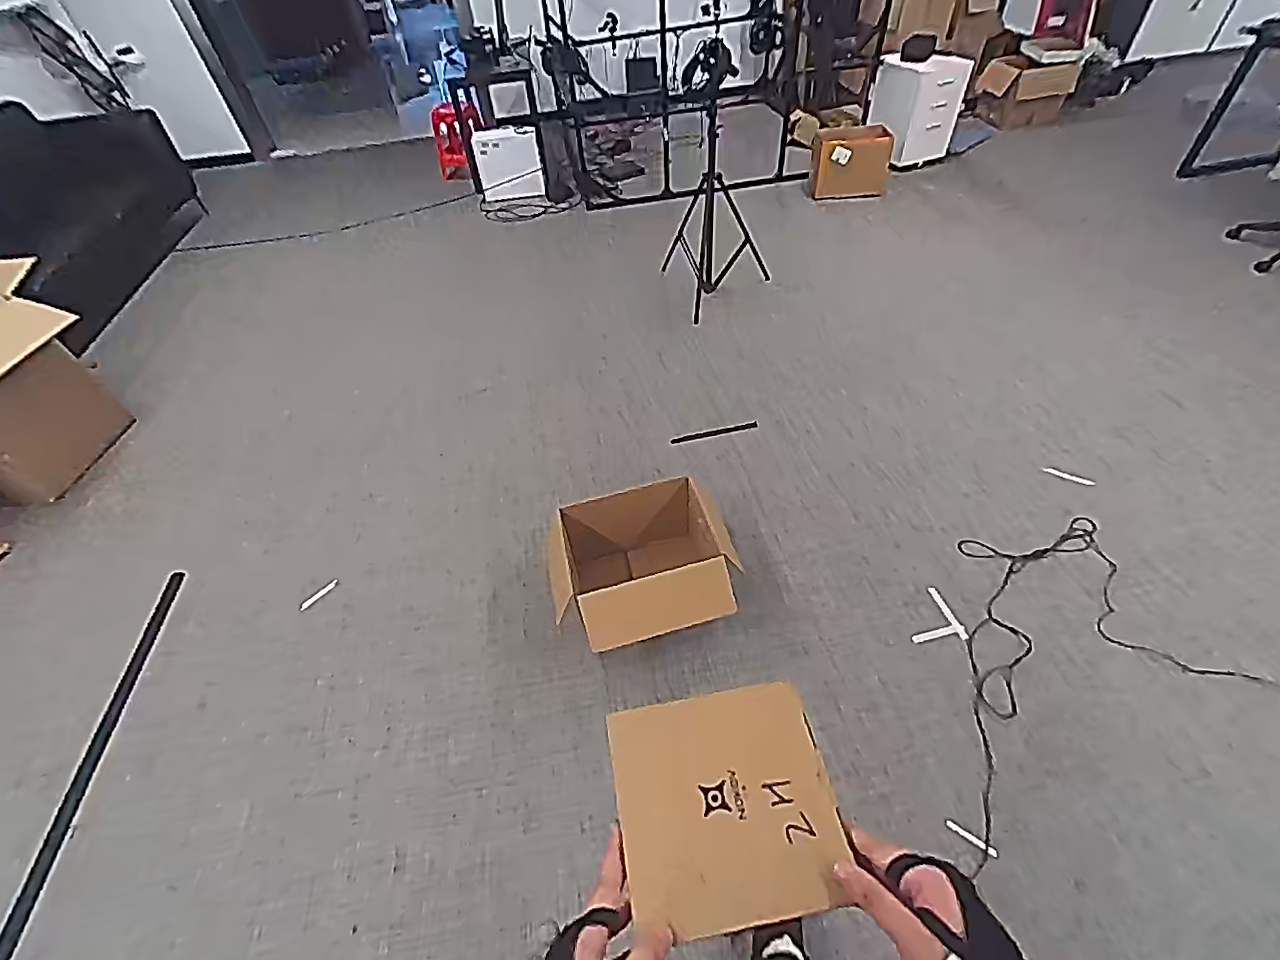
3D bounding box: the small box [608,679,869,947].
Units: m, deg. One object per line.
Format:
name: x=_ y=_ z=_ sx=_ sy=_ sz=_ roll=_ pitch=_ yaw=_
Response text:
small box: x=0.073 y=0.304 z=0.495 sx=0.179 sy=0.176 sz=0.168 roll=-9 pitch=52 yaw=-5
